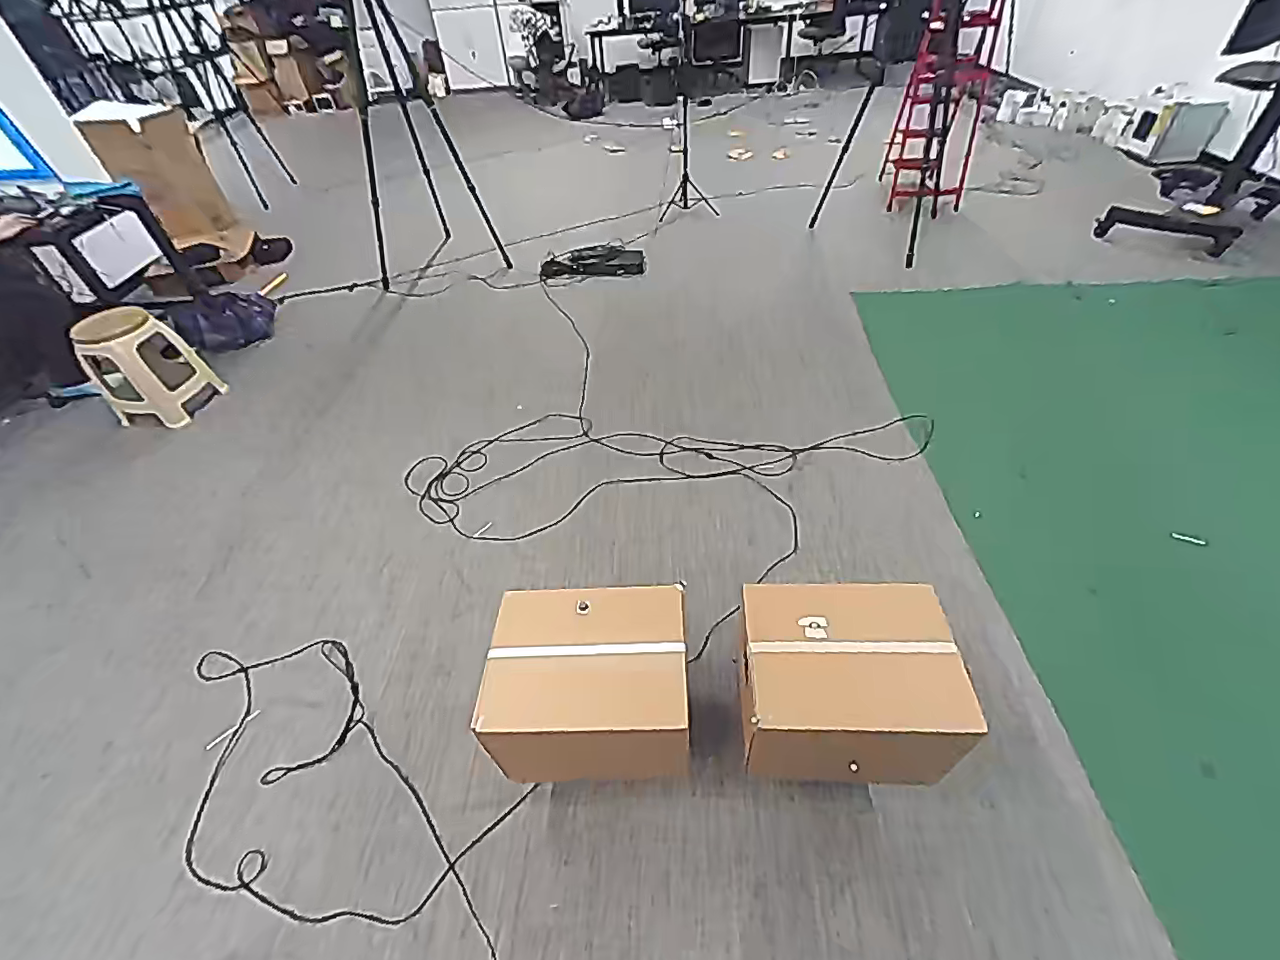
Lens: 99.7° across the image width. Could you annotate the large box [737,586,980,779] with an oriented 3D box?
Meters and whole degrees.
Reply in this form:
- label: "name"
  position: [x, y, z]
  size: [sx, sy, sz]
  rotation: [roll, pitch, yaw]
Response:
- label: "large box"
  position: [0.433, 0.450, 1.192]
  size: [0.408, 0.320, 0.320]
  rotation: [-1, 45, 5]
